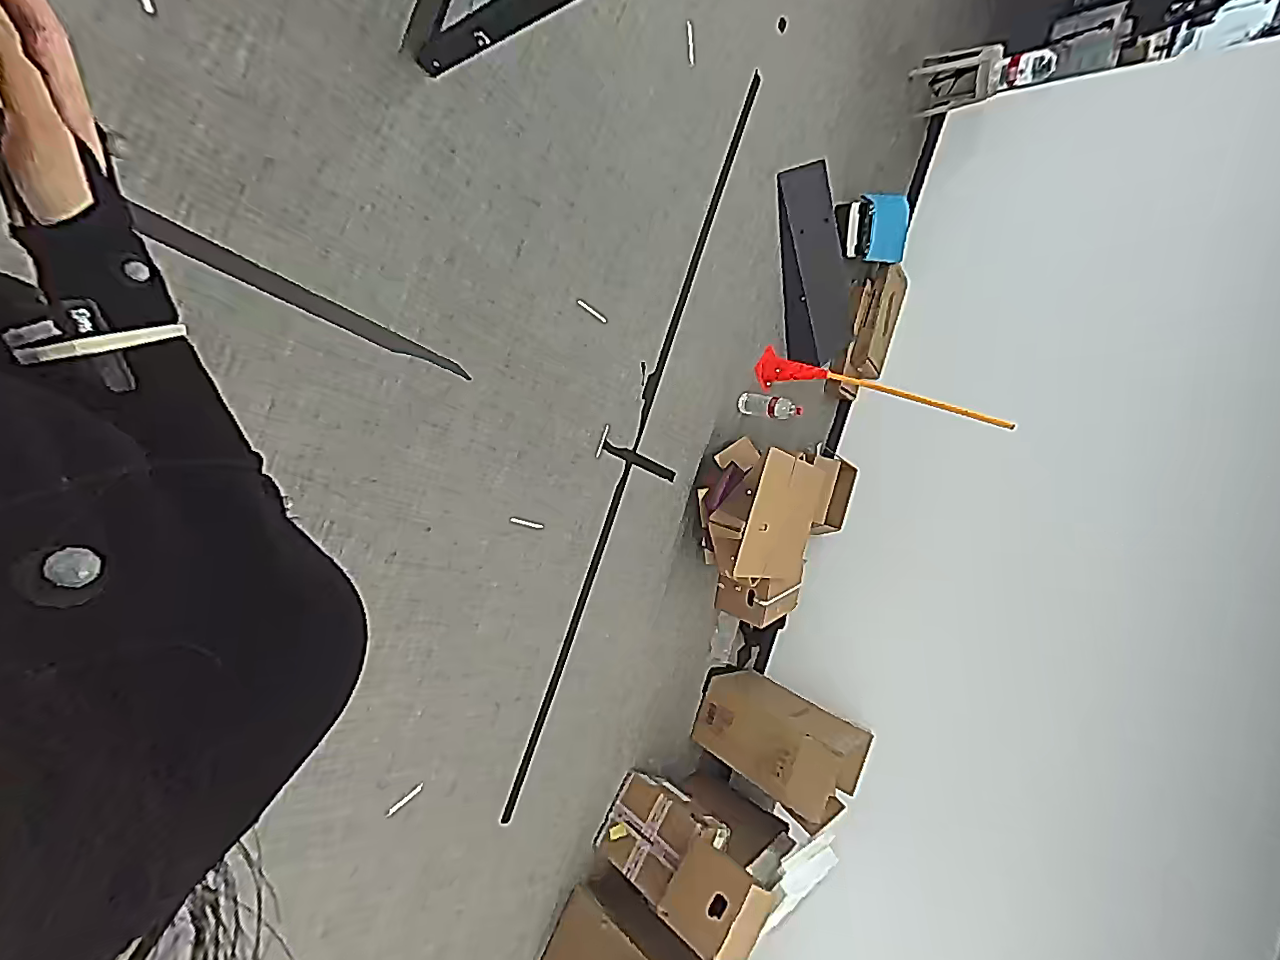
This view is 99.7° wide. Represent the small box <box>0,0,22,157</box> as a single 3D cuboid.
[{"bbox_3d":[-0.400,-0.246,0.228,0.168,0.176,0.179,-1,83,-55],"label":"small box"}]
